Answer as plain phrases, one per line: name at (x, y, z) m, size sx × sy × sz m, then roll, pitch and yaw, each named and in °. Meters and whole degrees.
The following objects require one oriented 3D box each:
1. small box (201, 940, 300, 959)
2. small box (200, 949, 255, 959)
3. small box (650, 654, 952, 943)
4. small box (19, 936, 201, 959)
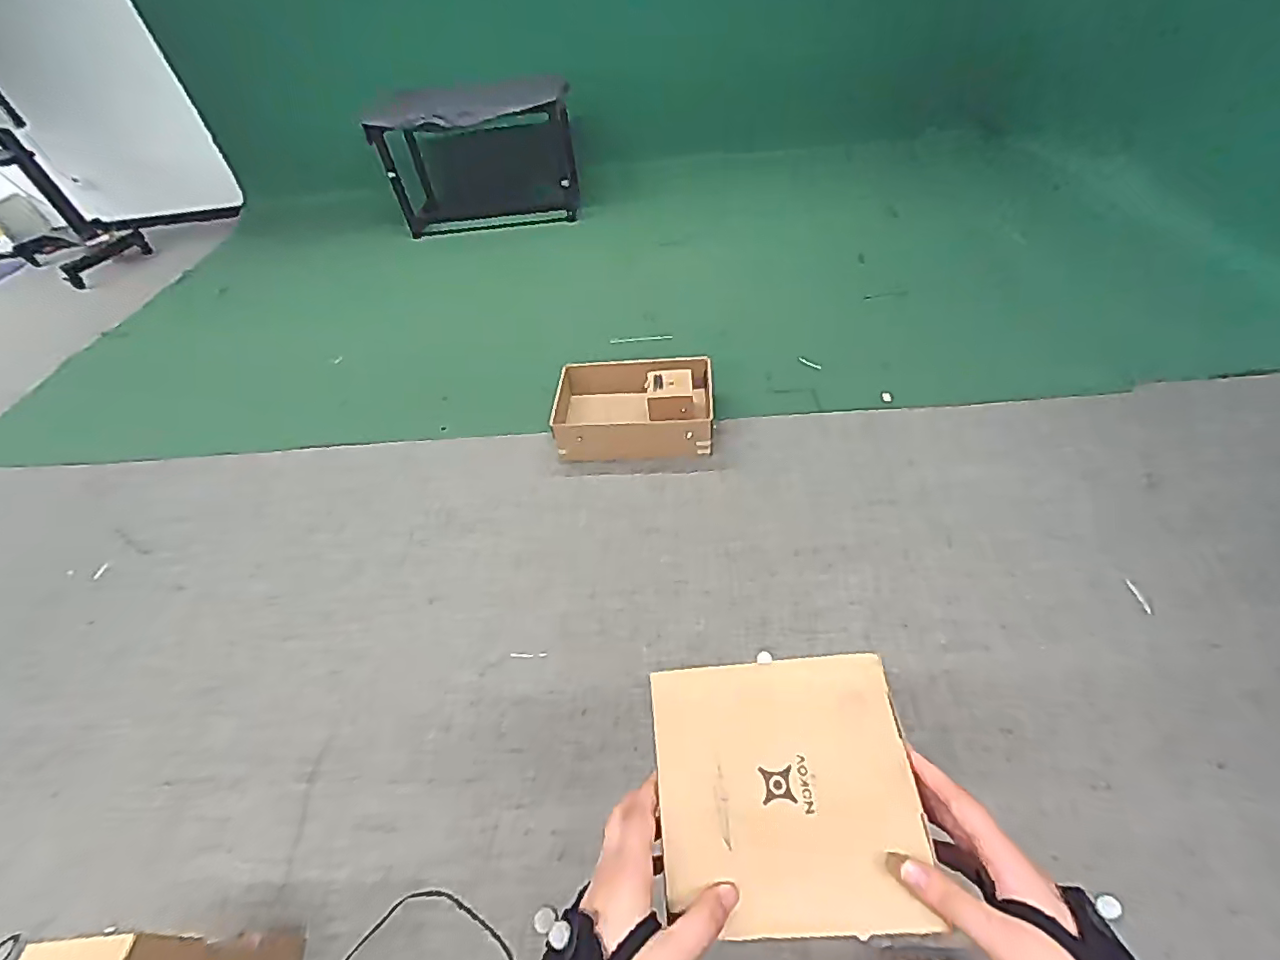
small box at (-0.823, 1.039, 1.076) m, size 0.179 × 0.176 × 0.168 m, roll -9°, pitch 46°, yaw 0°
small box at (-0.836, 0.939, 0.946) m, size 0.179 × 0.176 × 0.168 m, roll -6°, pitch 47°, yaw 2°
small box at (0.109, 0.249, 0.437) m, size 0.179 × 0.176 × 0.168 m, roll -8°, pitch 58°, yaw 7°
small box at (-0.848, 0.823, 0.833) m, size 0.179 × 0.176 × 0.168 m, roll -7°, pitch 46°, yaw 1°
